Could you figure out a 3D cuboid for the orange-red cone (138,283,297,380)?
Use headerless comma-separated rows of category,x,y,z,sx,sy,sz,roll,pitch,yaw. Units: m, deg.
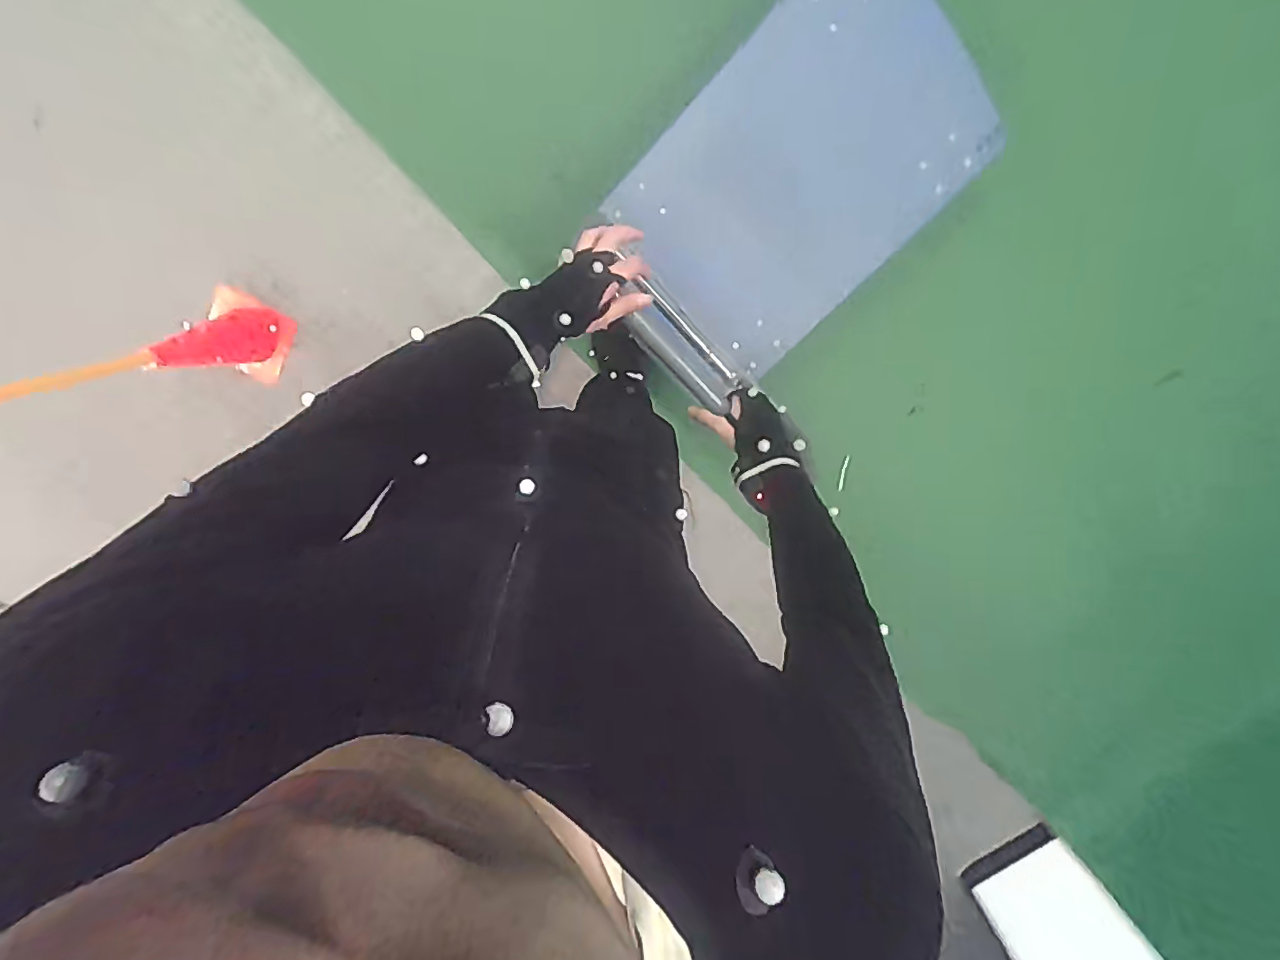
orange-red cone,-1.025,-0.327,1.274,0.199,0.360,0.198,31,106,-14
